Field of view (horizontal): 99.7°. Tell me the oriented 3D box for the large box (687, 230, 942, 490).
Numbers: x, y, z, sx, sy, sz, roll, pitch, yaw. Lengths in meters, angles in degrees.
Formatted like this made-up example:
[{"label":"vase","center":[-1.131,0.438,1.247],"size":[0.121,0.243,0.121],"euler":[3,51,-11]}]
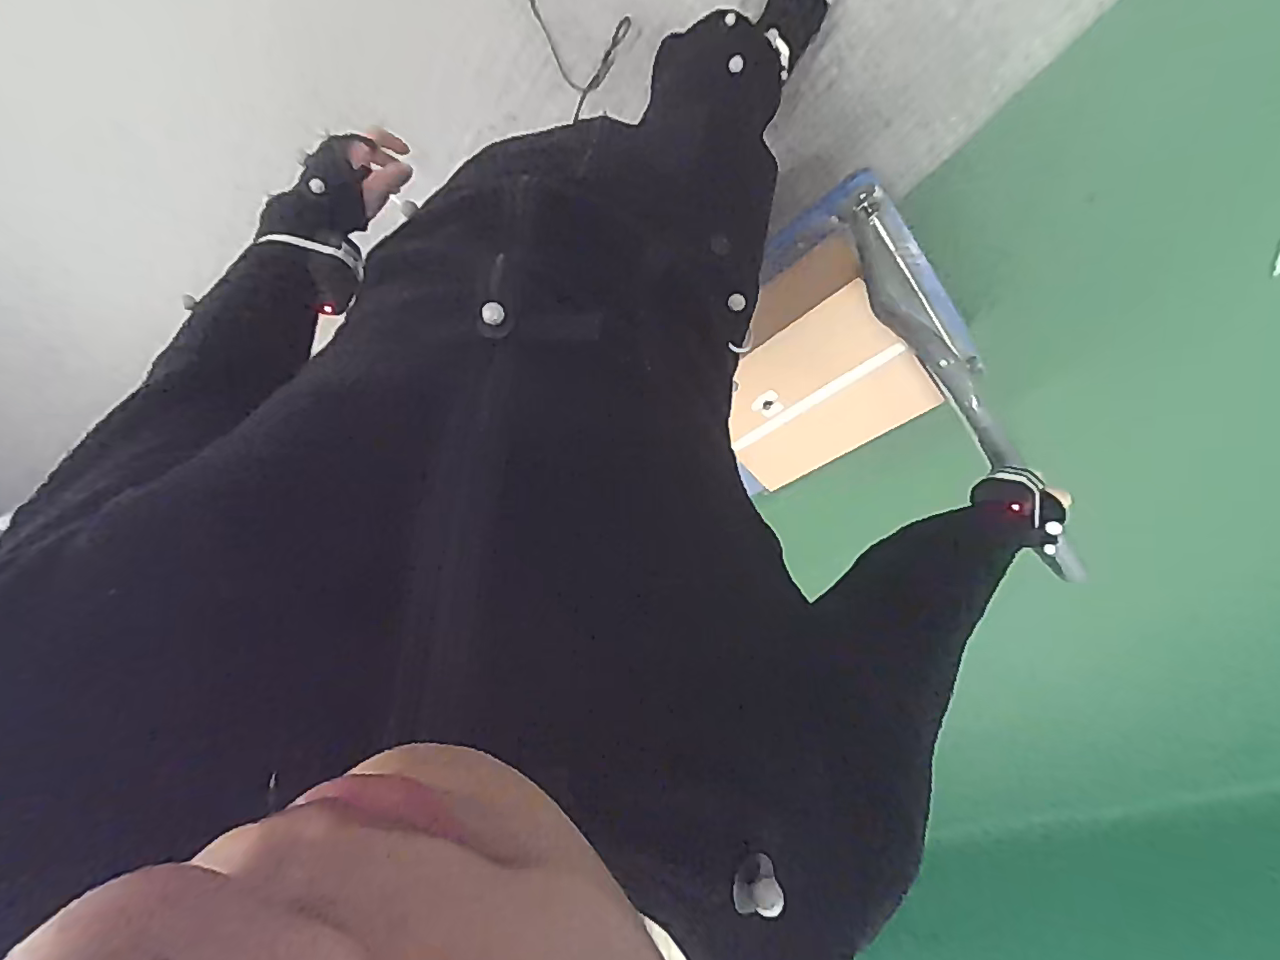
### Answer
[{"label":"large box","center":[0.363,-0.256,1.192],"size":[0.408,0.320,0.320],"euler":[-32,115,33]}]
